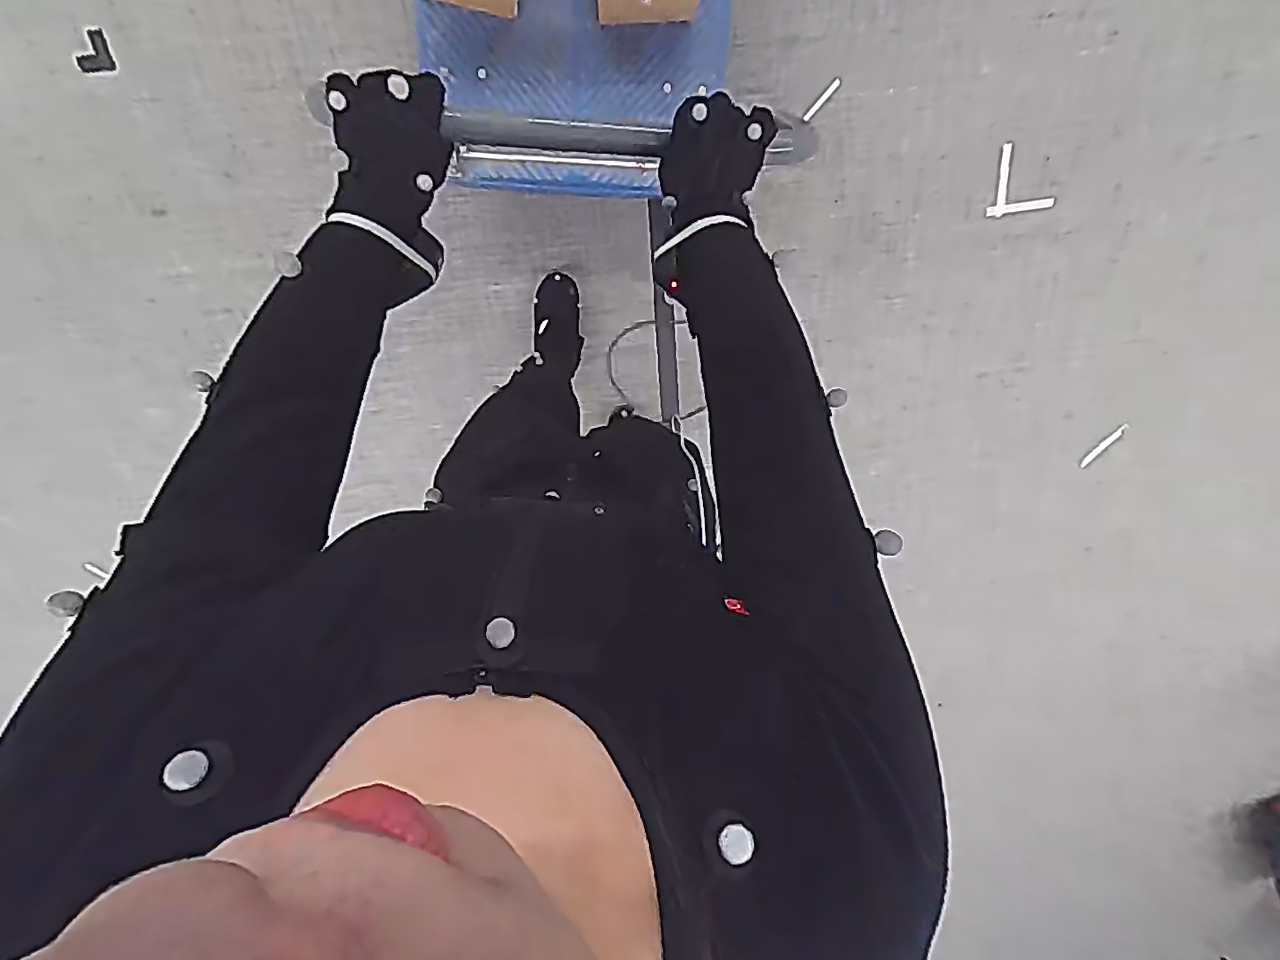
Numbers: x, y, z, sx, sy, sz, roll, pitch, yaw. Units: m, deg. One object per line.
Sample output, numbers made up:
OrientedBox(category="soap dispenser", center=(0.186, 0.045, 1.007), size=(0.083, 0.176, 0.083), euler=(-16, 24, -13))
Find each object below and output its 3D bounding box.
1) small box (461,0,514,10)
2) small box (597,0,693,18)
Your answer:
OrientedBox(category="small box", center=(-0.293, -0.892, 0.857), size=(0.179, 0.176, 0.168), euler=(5, 112, -10))
OrientedBox(category="small box", center=(0.011, -0.891, 0.887), size=(0.179, 0.176, 0.168), euler=(-6, 114, -3))
